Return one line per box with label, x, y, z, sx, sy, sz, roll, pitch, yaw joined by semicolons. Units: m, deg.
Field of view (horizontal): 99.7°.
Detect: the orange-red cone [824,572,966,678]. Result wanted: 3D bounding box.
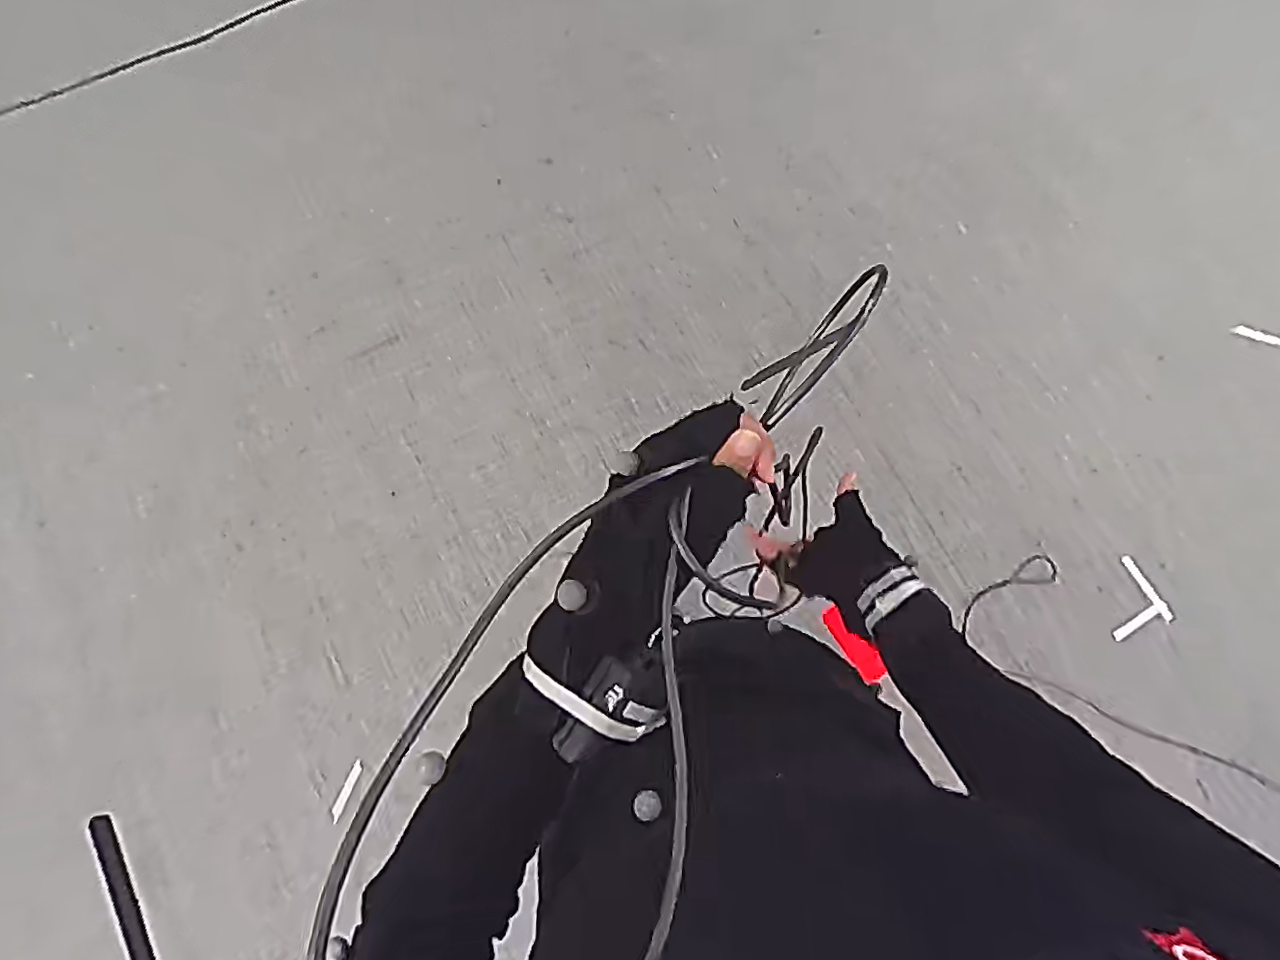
orange-red cone;0.562;0.316;1.127;0.199;0.360;0.198;-32;81;-4
